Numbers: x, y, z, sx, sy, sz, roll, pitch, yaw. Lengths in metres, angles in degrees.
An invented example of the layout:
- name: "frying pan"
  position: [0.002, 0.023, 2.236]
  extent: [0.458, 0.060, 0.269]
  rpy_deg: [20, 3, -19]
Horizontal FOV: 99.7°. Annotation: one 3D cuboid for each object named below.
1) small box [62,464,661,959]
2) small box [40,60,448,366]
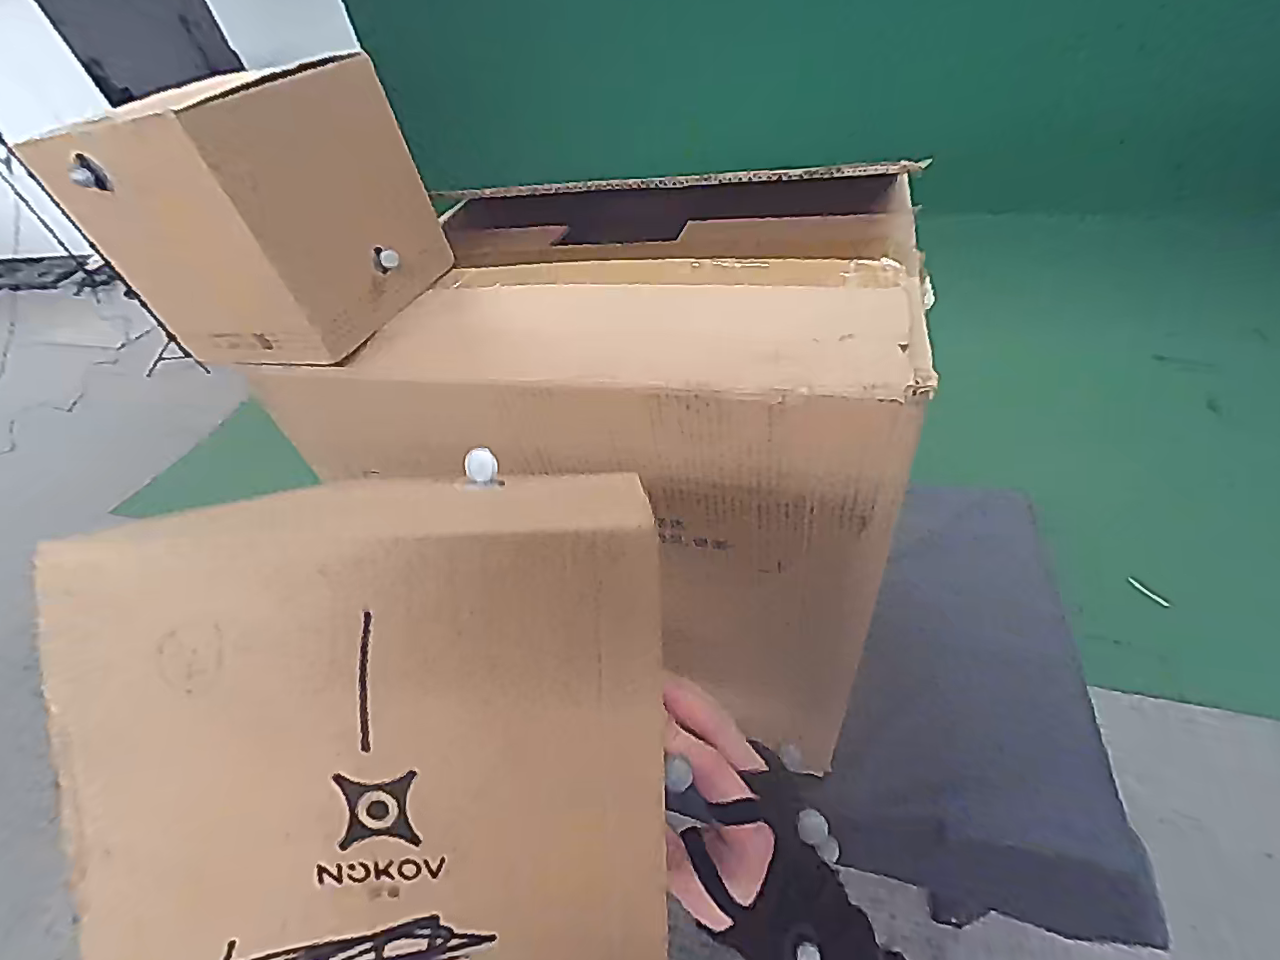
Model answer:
- name: "small box"
  position: [-0.077, 0.086, 0.237]
  extent: [0.168, 0.179, 0.176]
  rpy_deg: [-1, 5, -2]
- name: "small box"
  position: [-0.286, -0.212, 0.442]
  extent: [0.168, 0.176, 0.179]
  rpy_deg: [5, 46, 21]
